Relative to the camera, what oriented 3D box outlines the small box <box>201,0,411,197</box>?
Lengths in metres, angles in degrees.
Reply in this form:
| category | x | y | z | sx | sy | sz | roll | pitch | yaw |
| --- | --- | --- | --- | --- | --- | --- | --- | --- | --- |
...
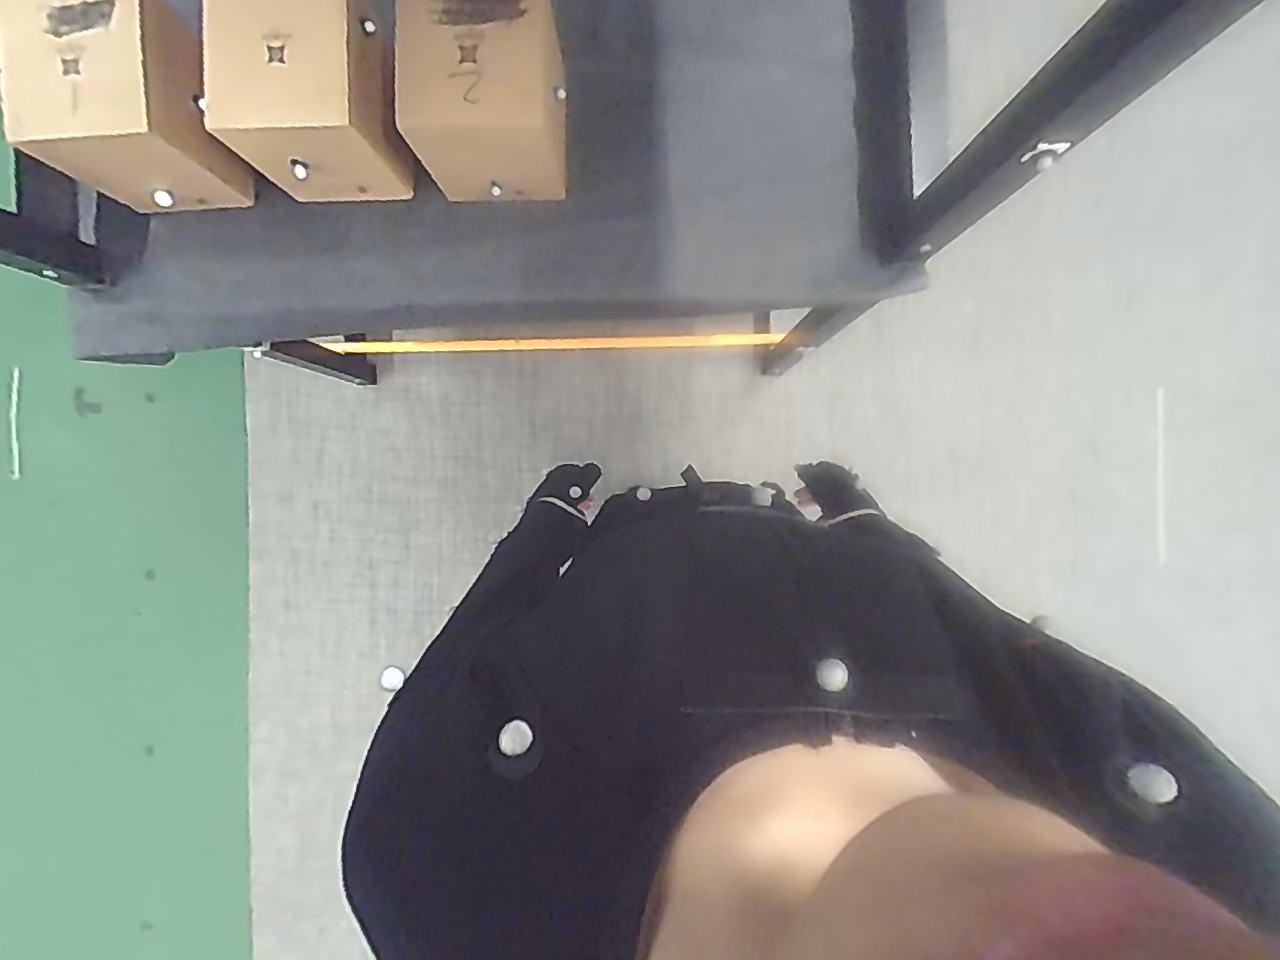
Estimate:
| category | x | y | z | sx | sy | sz | roll | pitch | yaw |
| --- | --- | --- | --- | --- | --- | --- | --- | --- | --- |
| small box | -0.403 | -0.479 | 0.680 | 0.168 | 0.176 | 0.179 | -1 | 89 | 0 |

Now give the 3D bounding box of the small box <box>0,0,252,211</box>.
| category | x | y | z | sx | sy | sz | roll | pitch | yaw |
| --- | --- | --- | --- | --- | --- | --- | --- | --- | --- |
| small box | -0.630 | -0.469 | 0.681 | 0.168 | 0.176 | 0.179 | -3 | 90 | 1 |
